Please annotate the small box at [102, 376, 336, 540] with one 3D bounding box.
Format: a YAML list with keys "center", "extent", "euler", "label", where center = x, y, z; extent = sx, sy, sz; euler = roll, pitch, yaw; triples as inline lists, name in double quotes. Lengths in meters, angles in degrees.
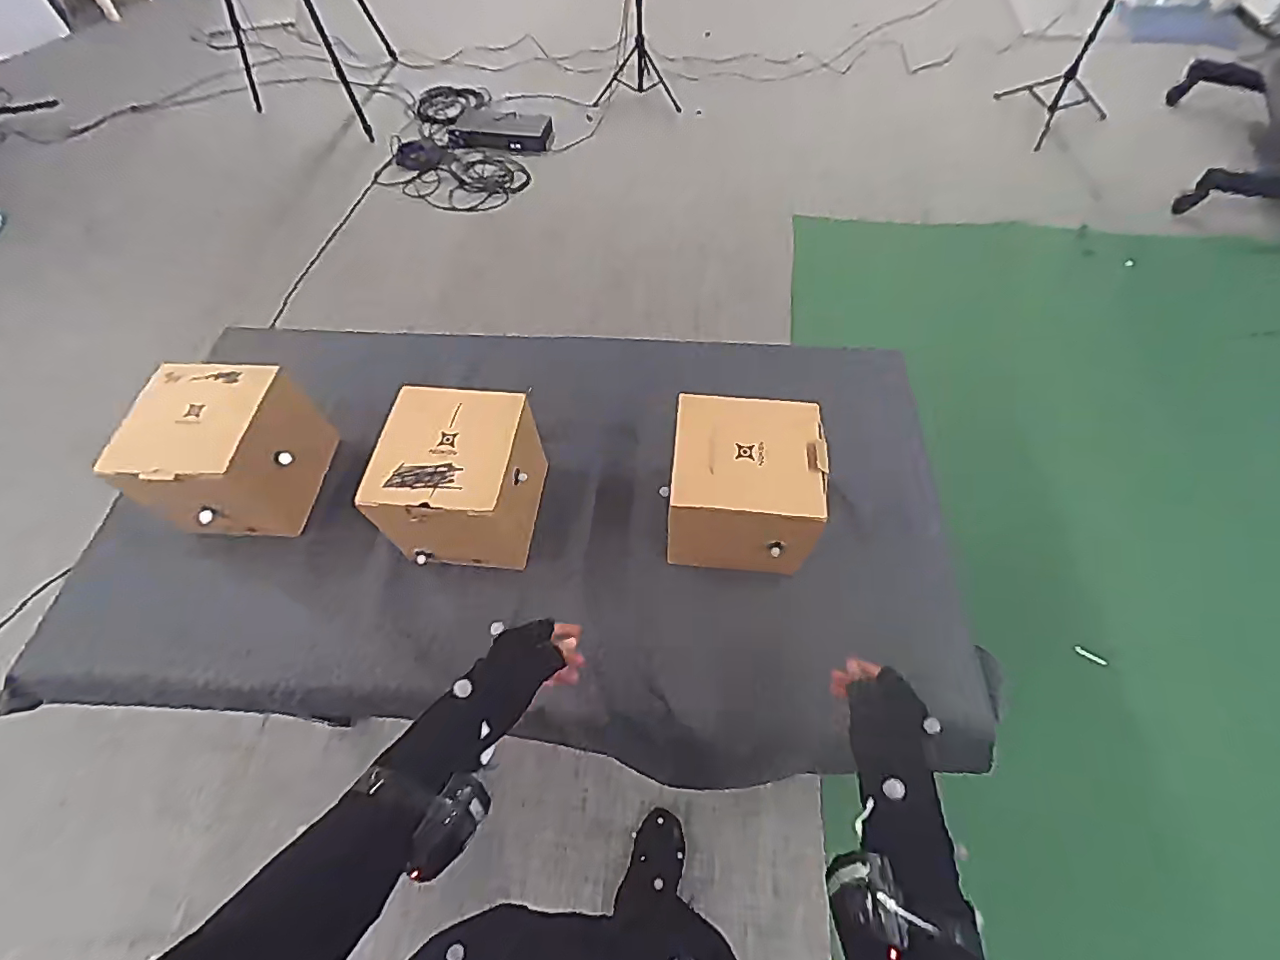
- center: [-0.564, -0.025, 0.759]
  extent: [0.168, 0.176, 0.179]
  euler: [1, 59, 2]
  label: "small box"

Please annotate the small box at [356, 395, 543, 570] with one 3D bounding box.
- center: [-0.236, 0.009, 0.726]
  extent: [0.168, 0.176, 0.179]
  euler: [4, 58, 4]
  label: "small box"

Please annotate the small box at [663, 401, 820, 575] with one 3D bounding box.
- center: [0.124, 0.016, 0.711]
  extent: [0.179, 0.176, 0.168]
  euler: [3, 58, 6]
  label: "small box"
